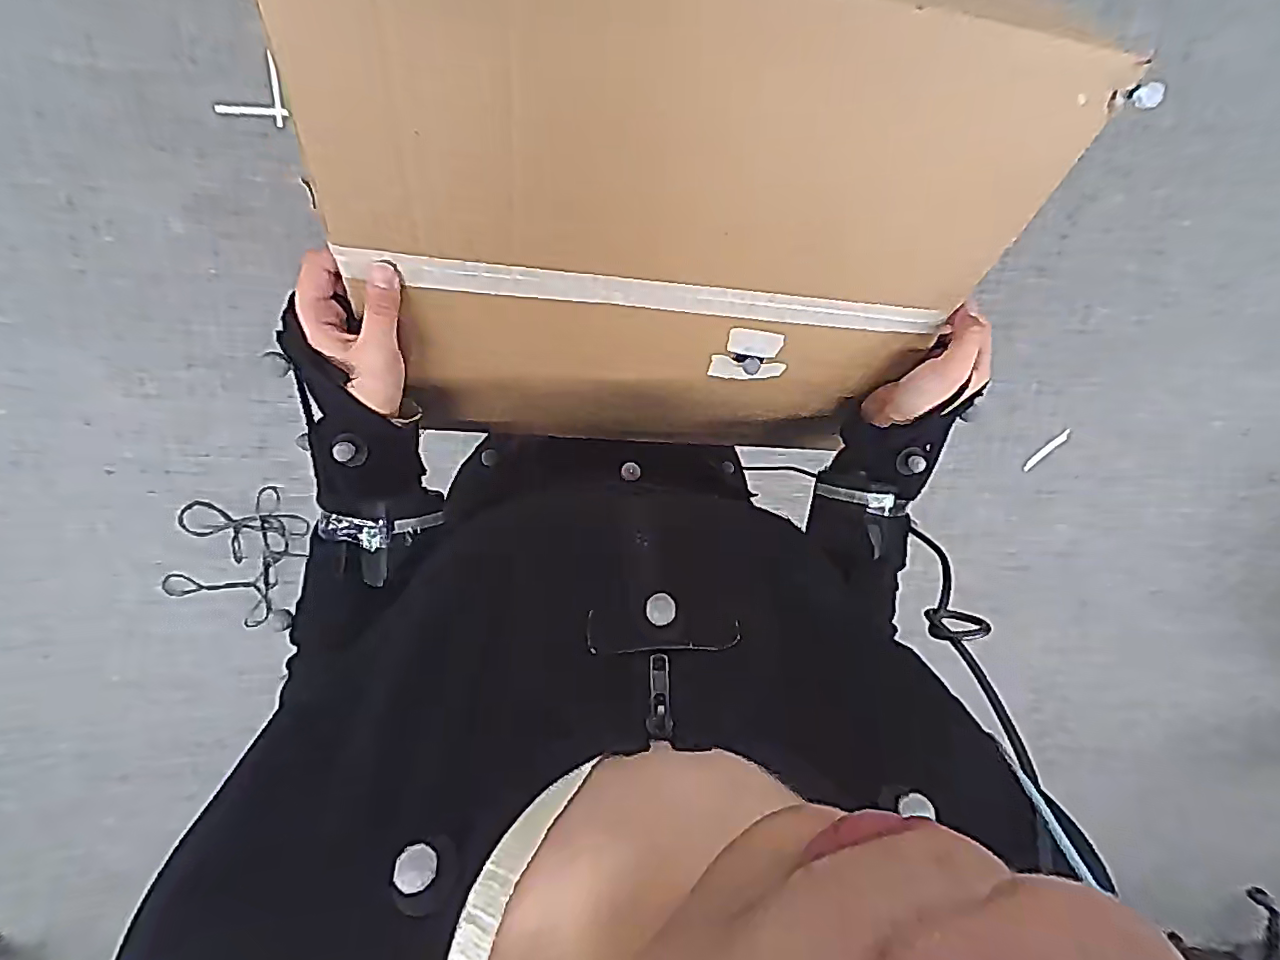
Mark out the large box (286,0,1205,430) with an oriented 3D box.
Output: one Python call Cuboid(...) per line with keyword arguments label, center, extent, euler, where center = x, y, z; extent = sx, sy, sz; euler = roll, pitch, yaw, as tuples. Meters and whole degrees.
Cuboid(label="large box", center=(0.023, -0.257, 0.410), extent=(0.408, 0.320, 0.320), euler=(1, 146, -11))
